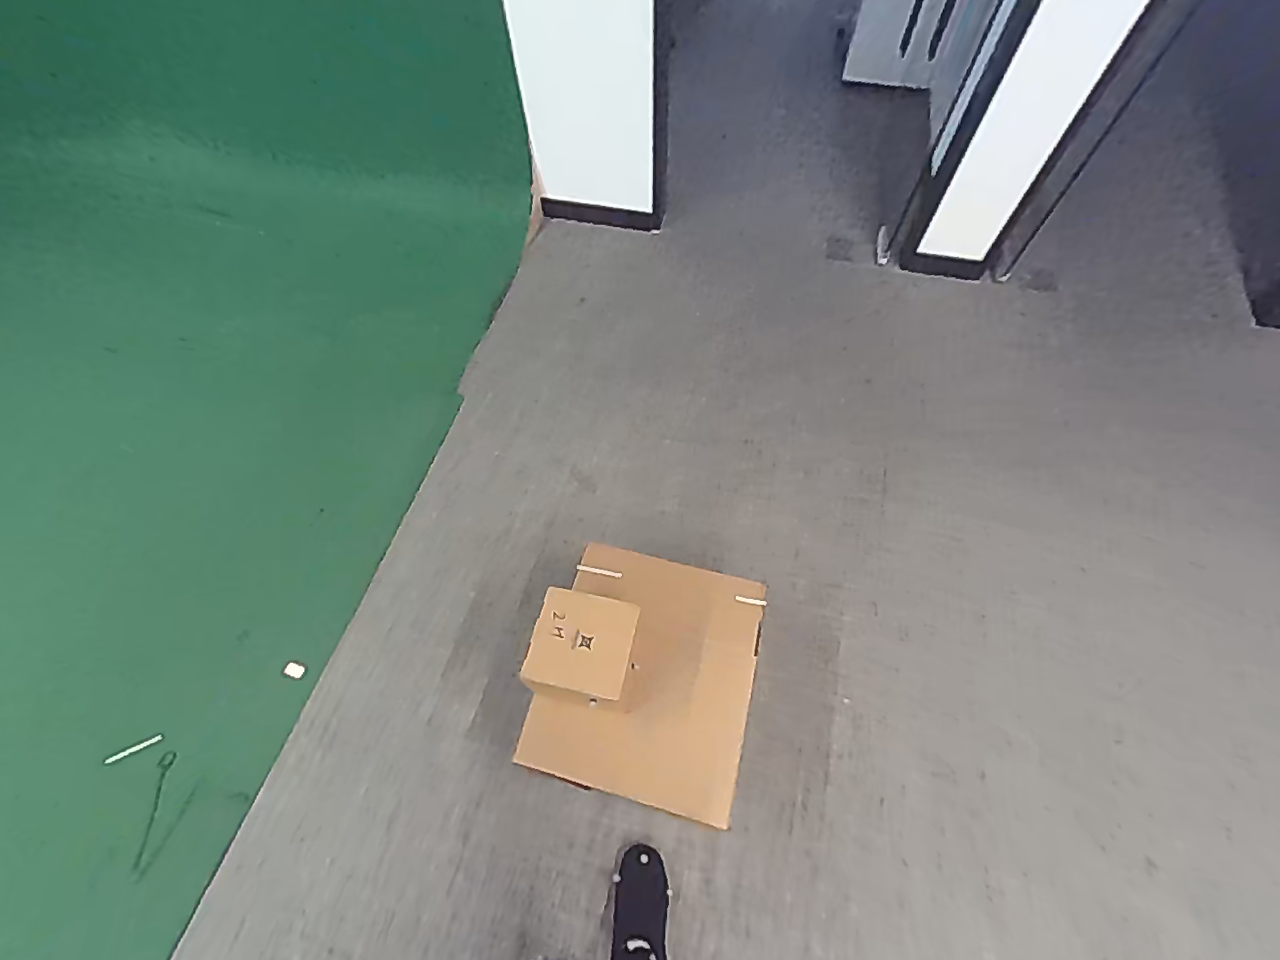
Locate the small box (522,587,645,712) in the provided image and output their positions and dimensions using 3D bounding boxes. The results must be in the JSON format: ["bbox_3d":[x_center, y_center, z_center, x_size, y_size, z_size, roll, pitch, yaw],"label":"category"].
[{"bbox_3d":[-0.093,0.319,0.998,0.179,0.176,0.168,11,60,8],"label":"small box"}]
